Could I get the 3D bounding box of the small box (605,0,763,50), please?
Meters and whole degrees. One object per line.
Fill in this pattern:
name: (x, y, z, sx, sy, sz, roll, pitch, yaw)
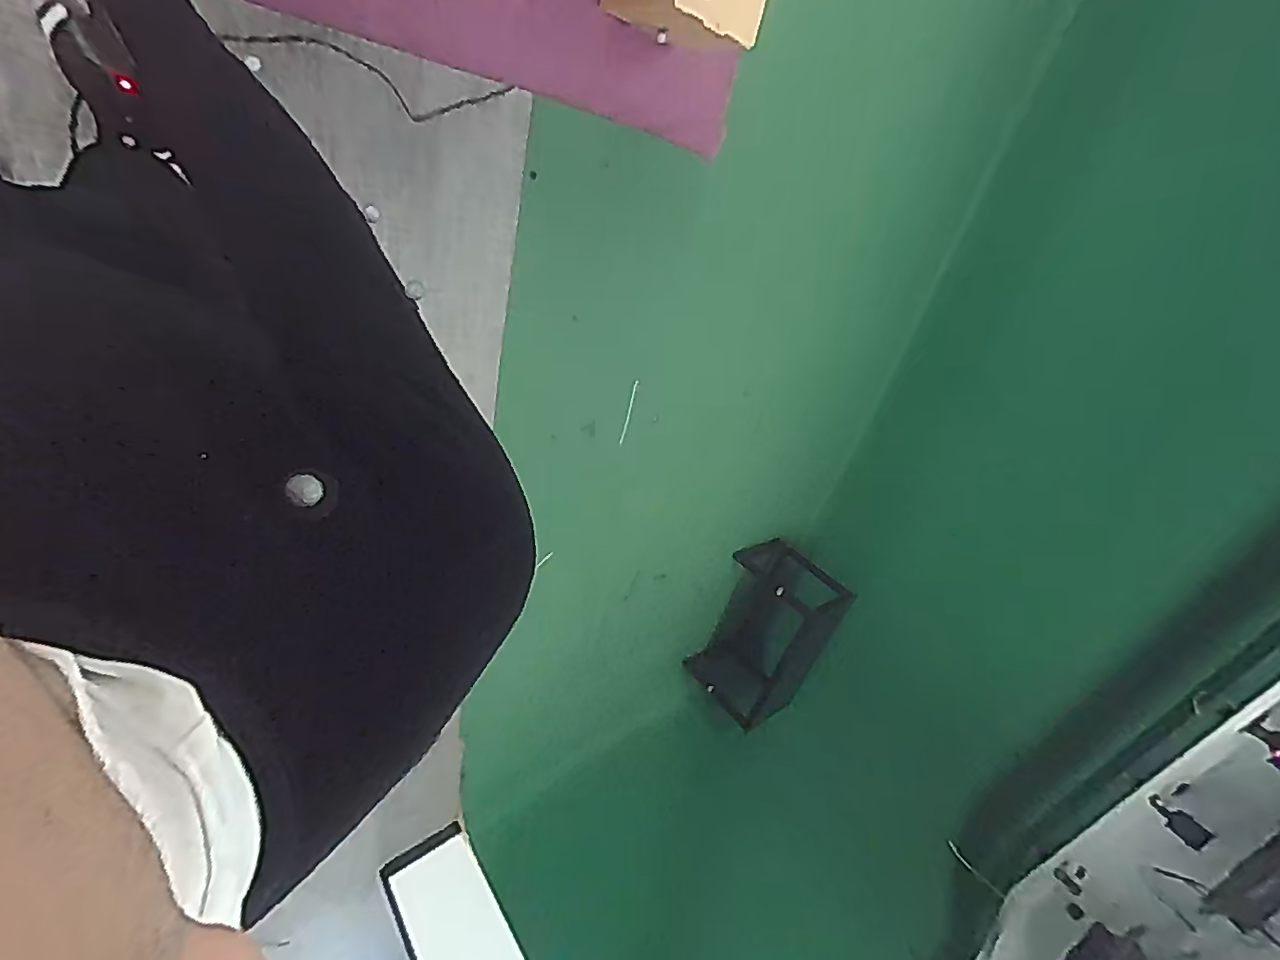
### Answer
small box: (0.069, -0.733, 0.749, 0.168, 0.176, 0.179, -11, 128, -40)
